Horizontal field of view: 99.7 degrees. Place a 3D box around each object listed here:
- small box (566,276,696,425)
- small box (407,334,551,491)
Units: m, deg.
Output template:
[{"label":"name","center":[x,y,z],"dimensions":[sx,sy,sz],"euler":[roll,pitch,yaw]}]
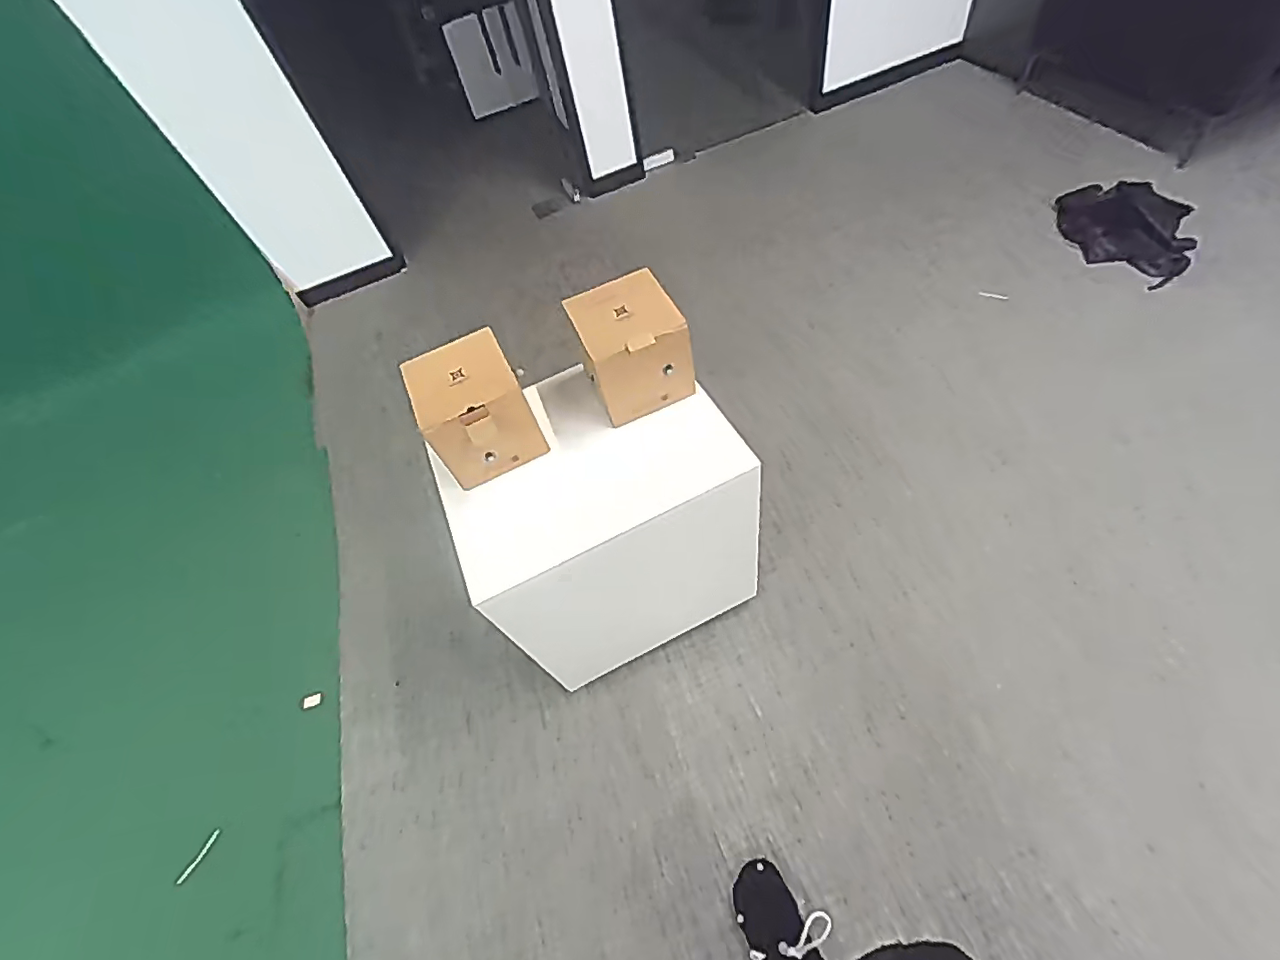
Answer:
[{"label":"small box","center":[-0.011,-0.220,0.958],"dimensions":[0.168,0.176,0.179],"euler":[-23,54,-5]},{"label":"small box","center":[-0.274,-0.113,0.938],"dimensions":[0.168,0.176,0.179],"euler":[-26,56,-8]}]
